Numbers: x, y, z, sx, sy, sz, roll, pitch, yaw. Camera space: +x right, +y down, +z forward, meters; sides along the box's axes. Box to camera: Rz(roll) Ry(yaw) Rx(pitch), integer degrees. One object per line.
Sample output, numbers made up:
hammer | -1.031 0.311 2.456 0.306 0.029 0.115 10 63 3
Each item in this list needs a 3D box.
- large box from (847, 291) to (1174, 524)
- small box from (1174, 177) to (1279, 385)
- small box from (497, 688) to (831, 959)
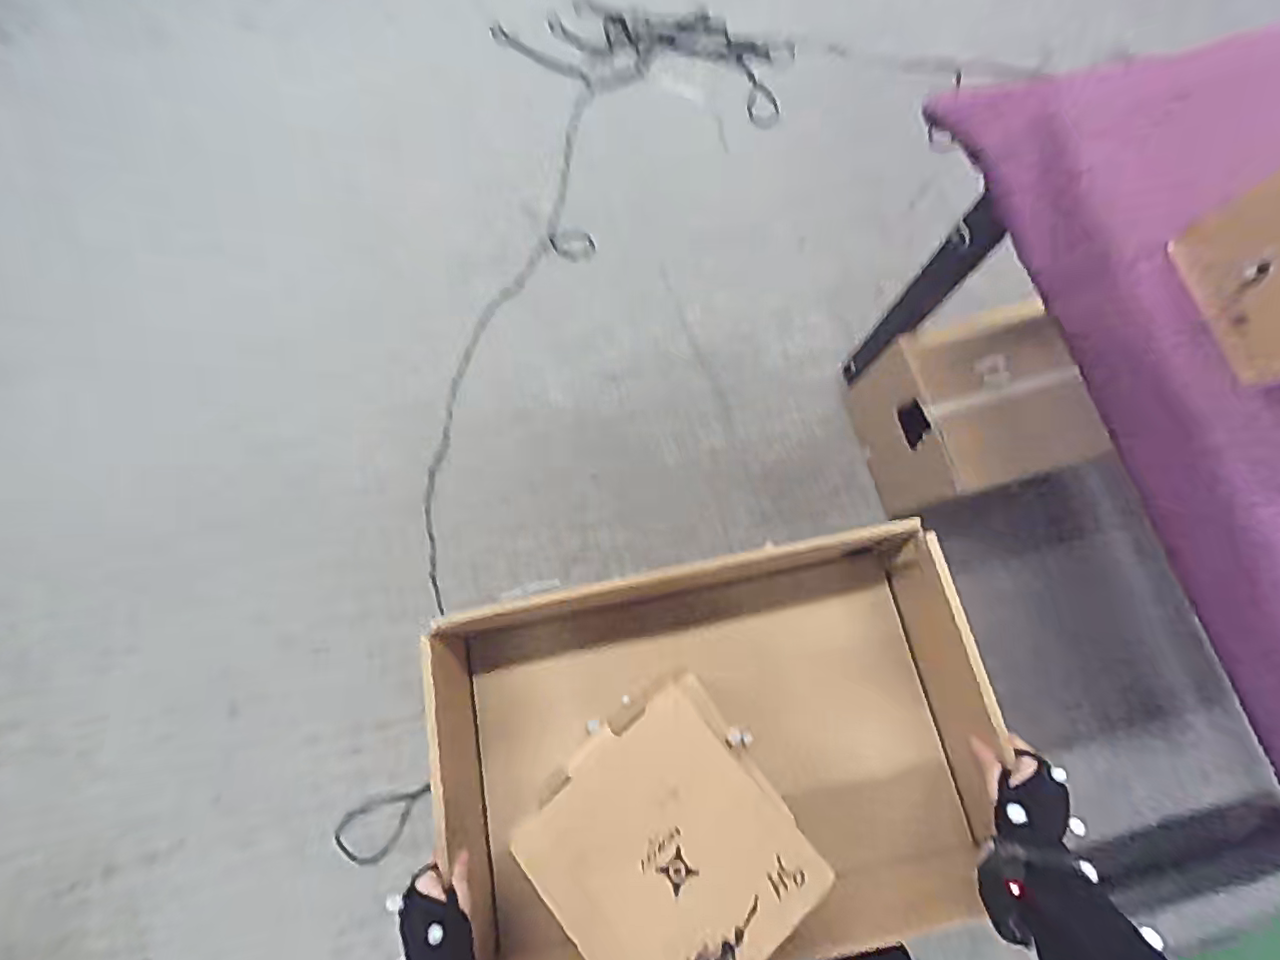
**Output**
large box | 0.714 -0.125 1.118 0.408 0.320 0.320 -16 76 0
small box | 0.638 -0.201 0.458 0.179 0.176 0.168 -15 77 -2
small box | 0.015 0.295 0.447 0.168 0.176 0.179 -40 76 -10
